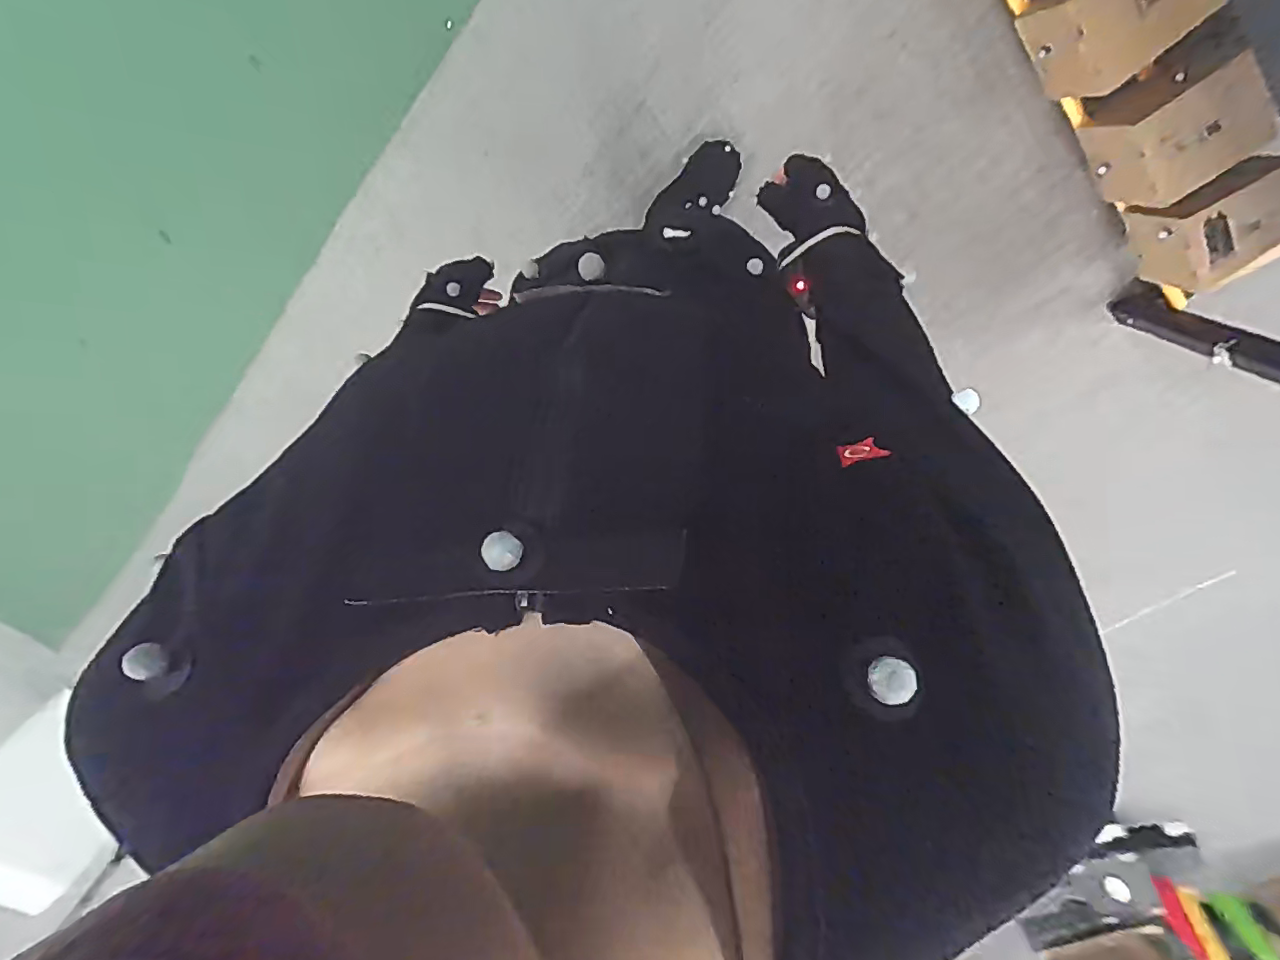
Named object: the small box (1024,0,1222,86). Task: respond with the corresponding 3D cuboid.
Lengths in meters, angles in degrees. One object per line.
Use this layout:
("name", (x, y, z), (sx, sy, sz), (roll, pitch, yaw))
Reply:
("small box", (0.782, -0.785, 0.879), (0.179, 0.176, 0.168), (-37, 113, 26))
